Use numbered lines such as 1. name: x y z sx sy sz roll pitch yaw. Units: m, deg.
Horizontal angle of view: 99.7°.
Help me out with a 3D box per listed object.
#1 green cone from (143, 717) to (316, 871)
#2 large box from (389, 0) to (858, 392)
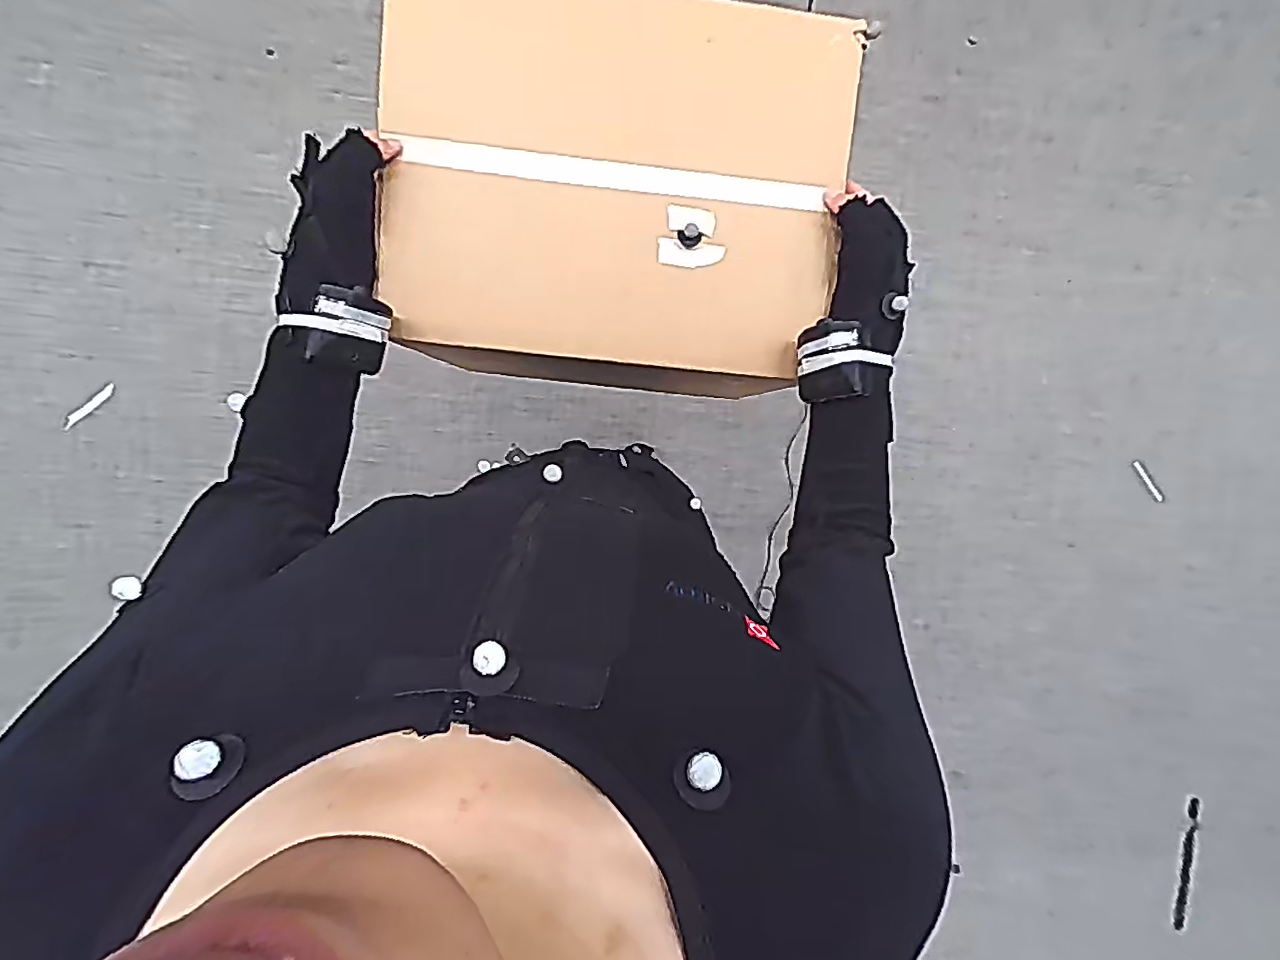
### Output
1. green cone: -0.991 0.764 1.274 0.202 0.368 0.200 -33 92 0
2. large box: -0.026 -0.281 0.624 0.408 0.320 0.320 5 96 -5
